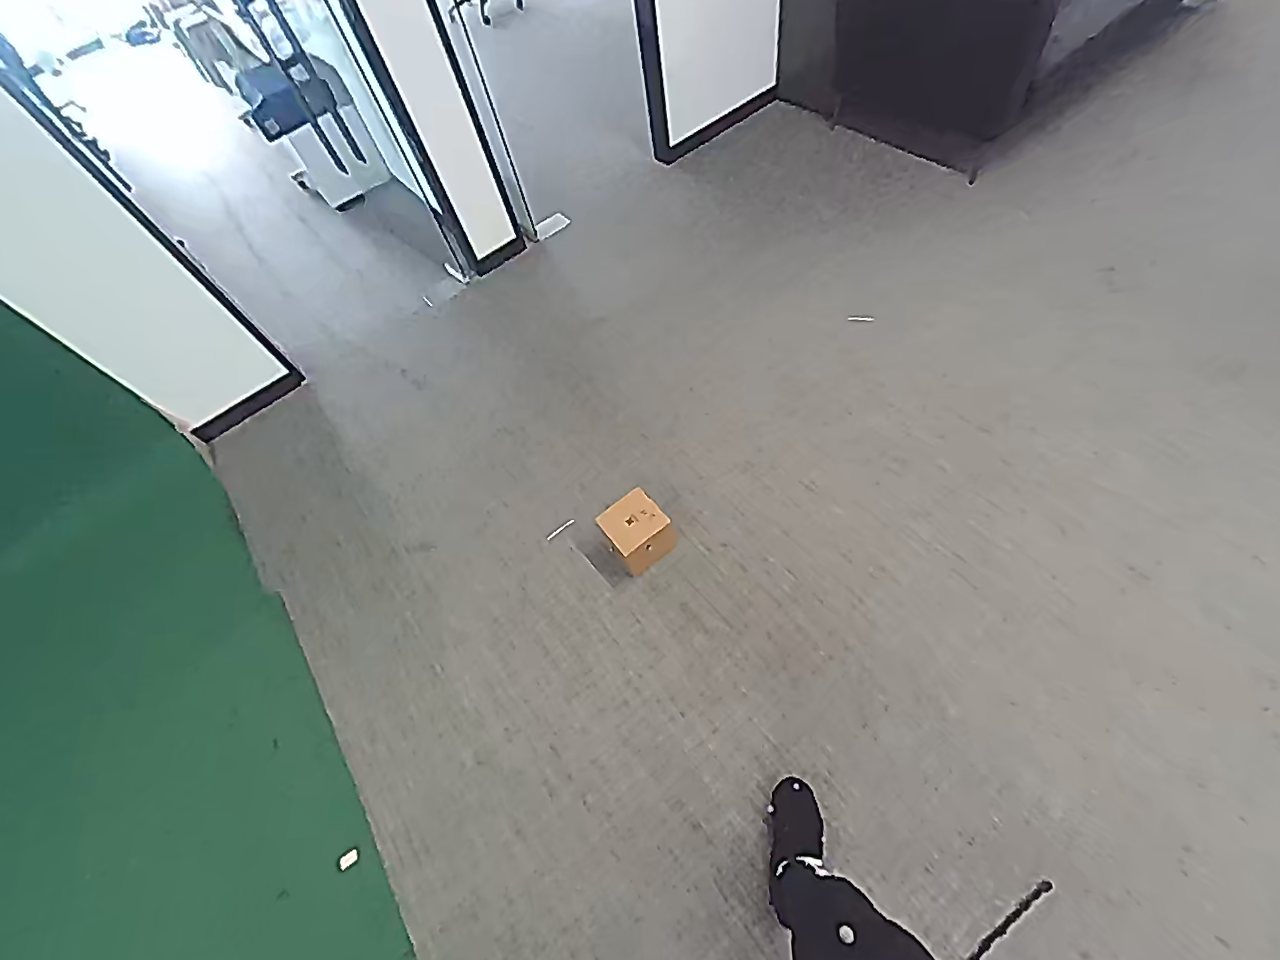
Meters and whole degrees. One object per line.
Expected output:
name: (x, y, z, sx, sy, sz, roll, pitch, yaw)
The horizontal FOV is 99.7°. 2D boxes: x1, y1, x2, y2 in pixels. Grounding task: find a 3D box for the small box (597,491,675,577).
small box: (-0.007, 0.173, 1.688, 0.179, 0.176, 0.168, -35, 59, -13)
